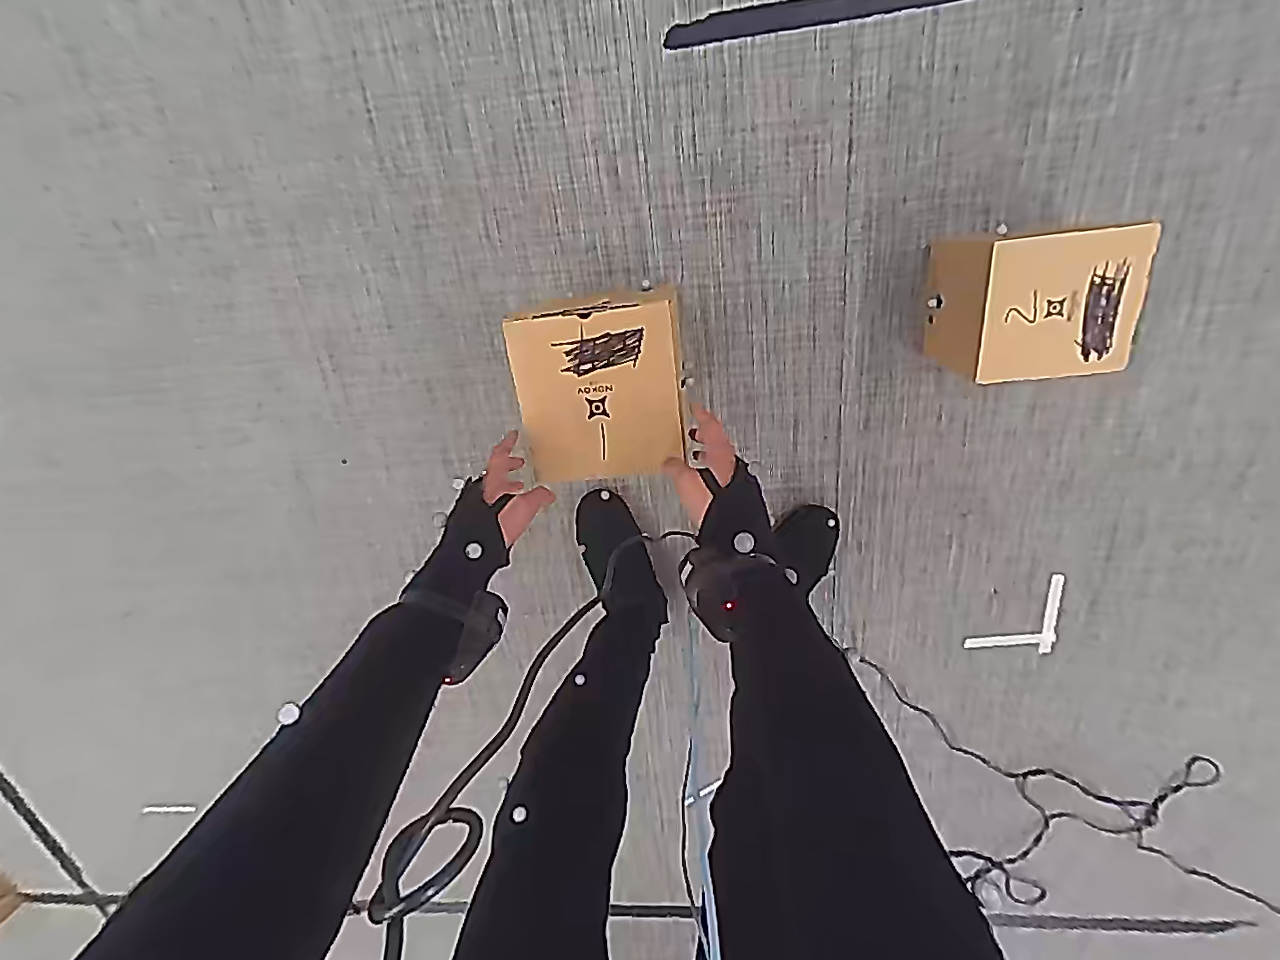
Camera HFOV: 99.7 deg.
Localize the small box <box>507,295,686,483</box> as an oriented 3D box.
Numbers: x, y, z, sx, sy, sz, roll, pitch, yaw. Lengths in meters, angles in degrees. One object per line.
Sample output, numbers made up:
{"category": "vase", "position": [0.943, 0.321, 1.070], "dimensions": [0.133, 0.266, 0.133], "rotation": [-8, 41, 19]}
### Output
{"category": "small box", "position": [-0.036, -0.112, 0.618], "dimensions": [0.168, 0.176, 0.179], "rotation": [-4, 114, 7]}
